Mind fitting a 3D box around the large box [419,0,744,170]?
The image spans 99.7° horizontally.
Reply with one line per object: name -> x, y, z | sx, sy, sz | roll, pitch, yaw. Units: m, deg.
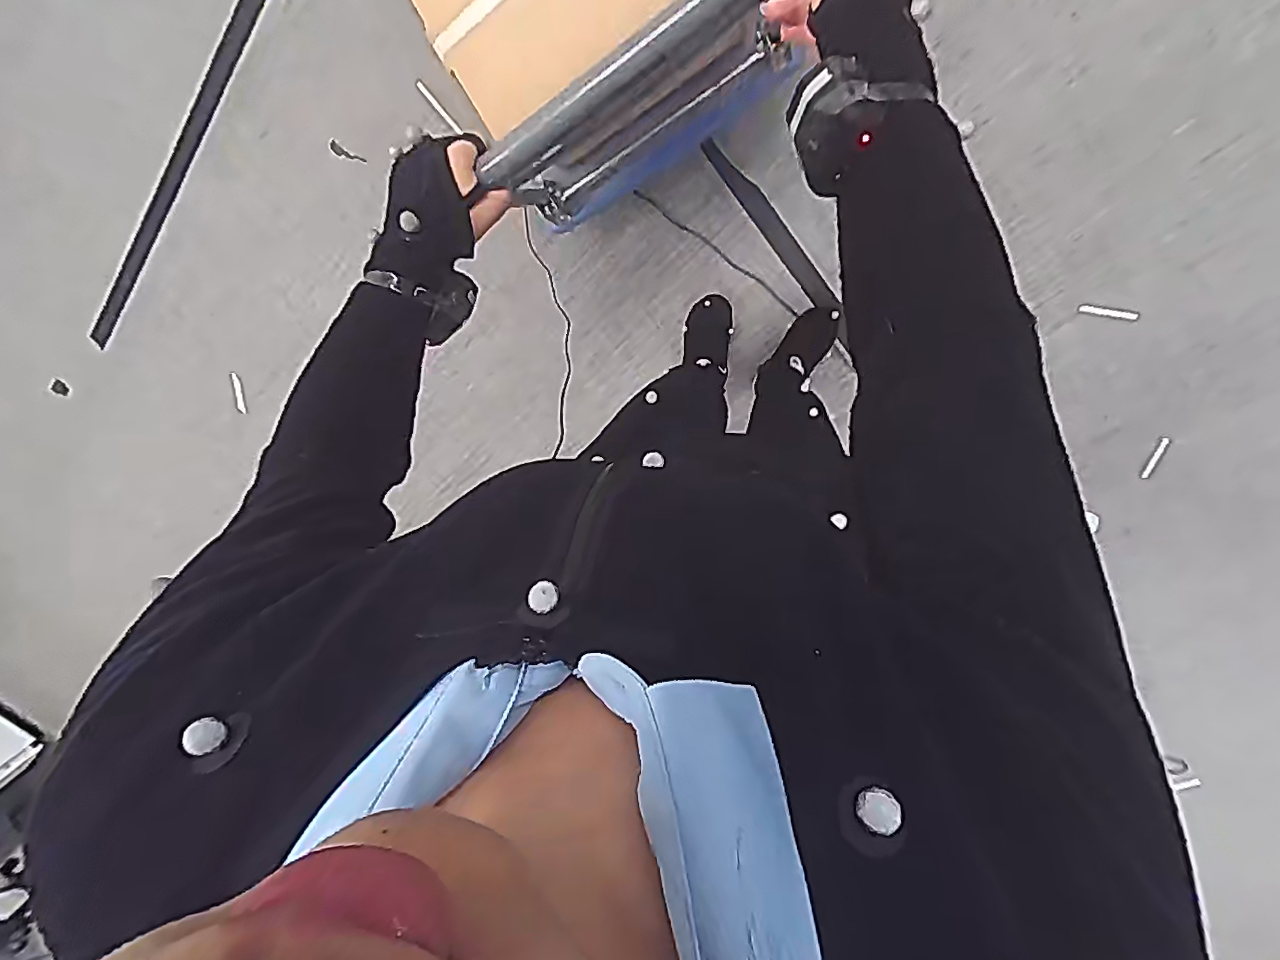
large box -> -0.084, -0.758, 0.839 | 0.408, 0.320, 0.320 | -26, 109, 20
